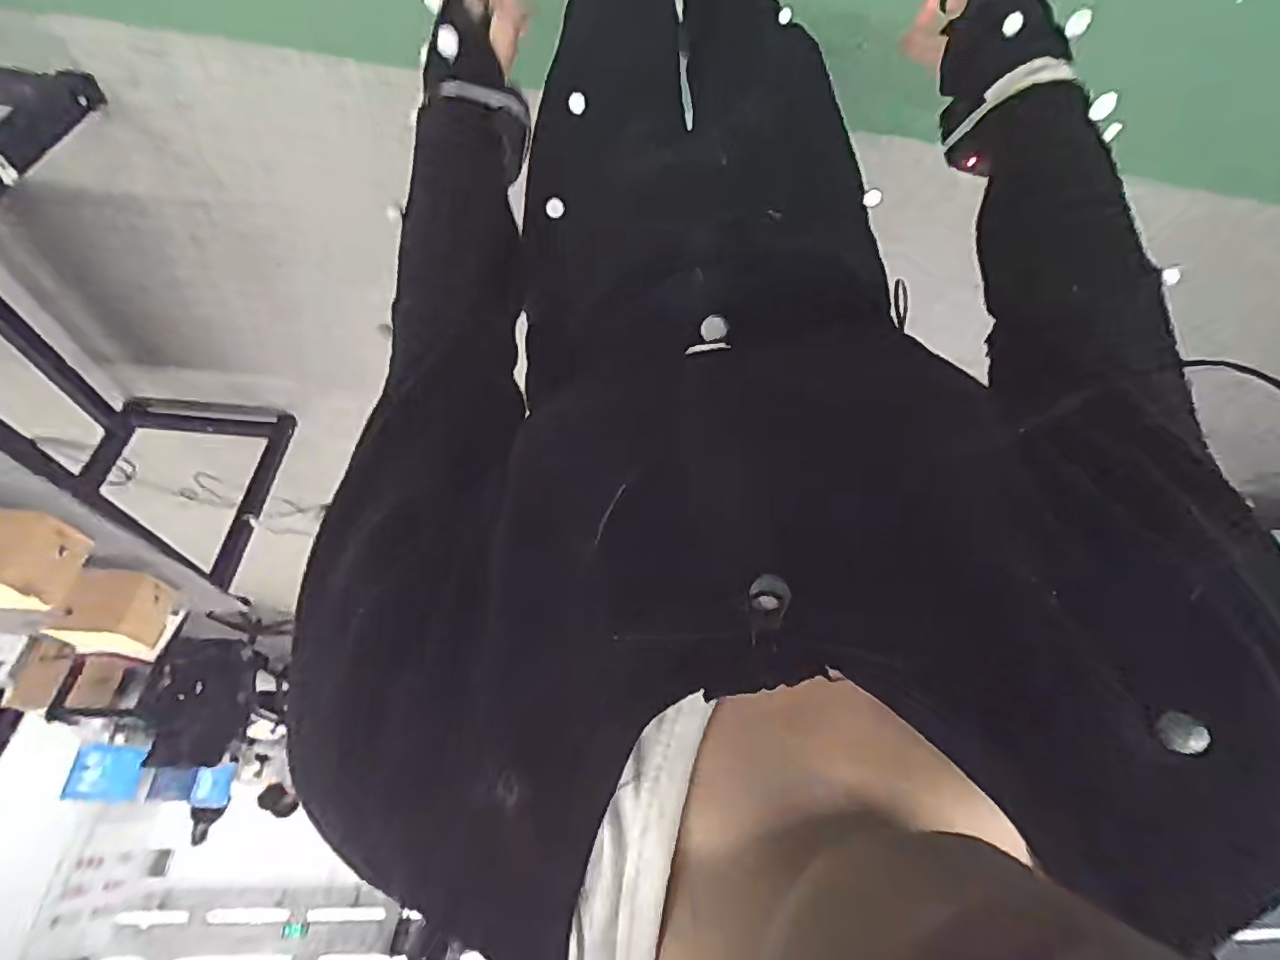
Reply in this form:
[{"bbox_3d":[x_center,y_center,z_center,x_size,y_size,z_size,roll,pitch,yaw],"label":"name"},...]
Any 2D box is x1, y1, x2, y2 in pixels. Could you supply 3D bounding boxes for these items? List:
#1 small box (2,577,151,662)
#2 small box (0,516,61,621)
[{"bbox_3d":[-1.424,0.356,1.384,0.179,0.176,0.168,6,147,-11],"label":"small box"},{"bbox_3d":[-1.378,0.176,1.108,0.179,0.176,0.168,5,147,-10],"label":"small box"}]
